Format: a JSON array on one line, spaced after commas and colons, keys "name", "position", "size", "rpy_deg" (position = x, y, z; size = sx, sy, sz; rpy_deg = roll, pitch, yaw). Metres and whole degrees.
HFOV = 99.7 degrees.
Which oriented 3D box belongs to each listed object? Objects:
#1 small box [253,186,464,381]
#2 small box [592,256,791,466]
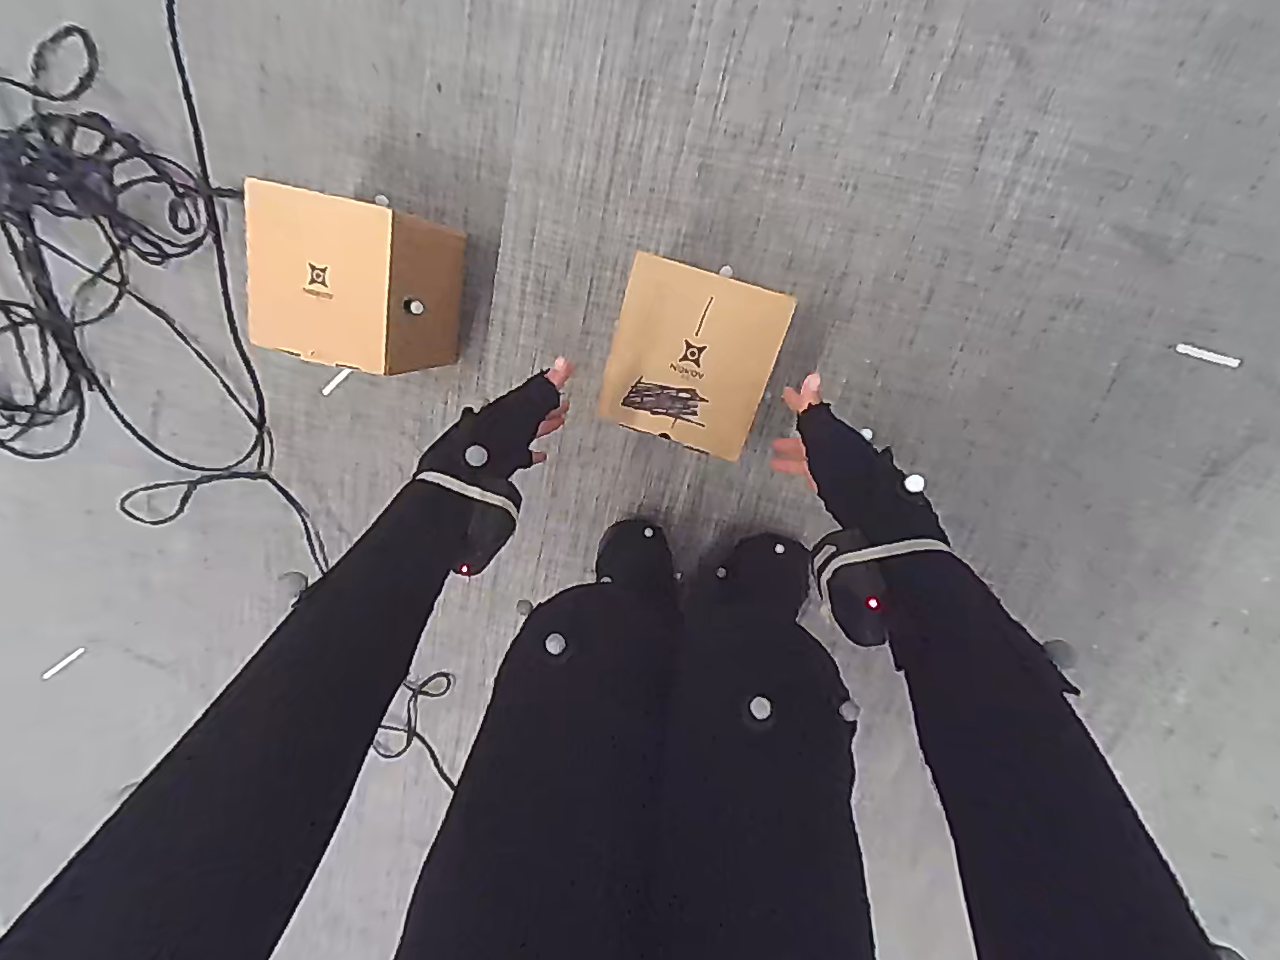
[{"name": "small box", "position": [-0.331, -0.233, 0.662], "size": [0.168, 0.176, 0.179], "rpy_deg": [14, 109, 5]}, {"name": "small box", "position": [0.060, -0.141, 0.628], "size": [0.168, 0.176, 0.179], "rpy_deg": [18, 109, 3]}]
